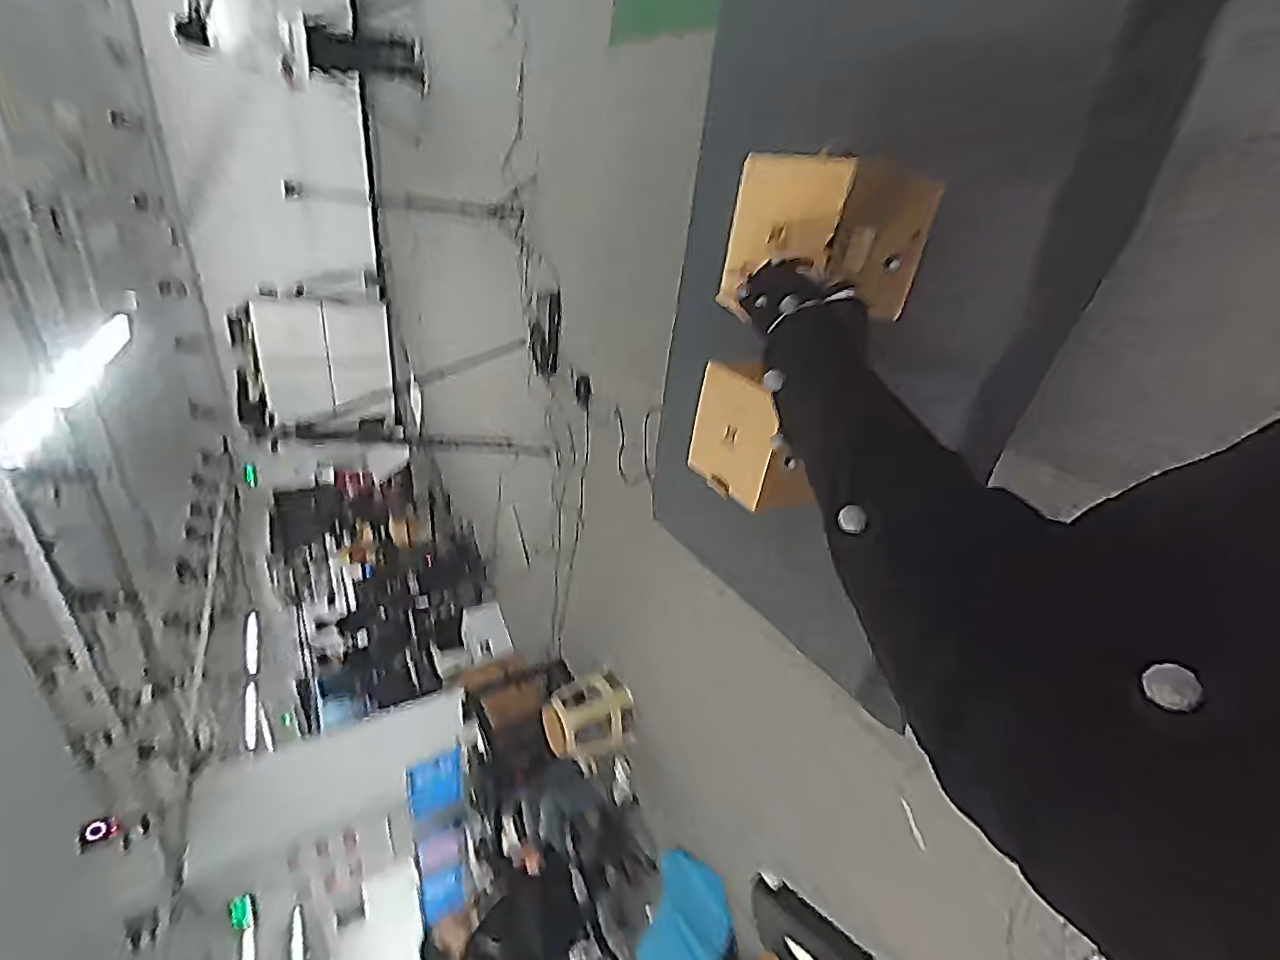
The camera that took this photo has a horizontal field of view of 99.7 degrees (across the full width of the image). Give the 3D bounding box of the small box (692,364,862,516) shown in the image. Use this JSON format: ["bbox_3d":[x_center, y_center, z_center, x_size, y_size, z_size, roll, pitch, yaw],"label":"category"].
[{"bbox_3d":[0.207,-0.070,0.830,0.168,0.176,0.179,42,132,46],"label":"small box"}]

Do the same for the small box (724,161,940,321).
[{"bbox_3d":[0.242,-0.307,0.706,0.179,0.176,0.168,41,131,47],"label":"small box"}]
